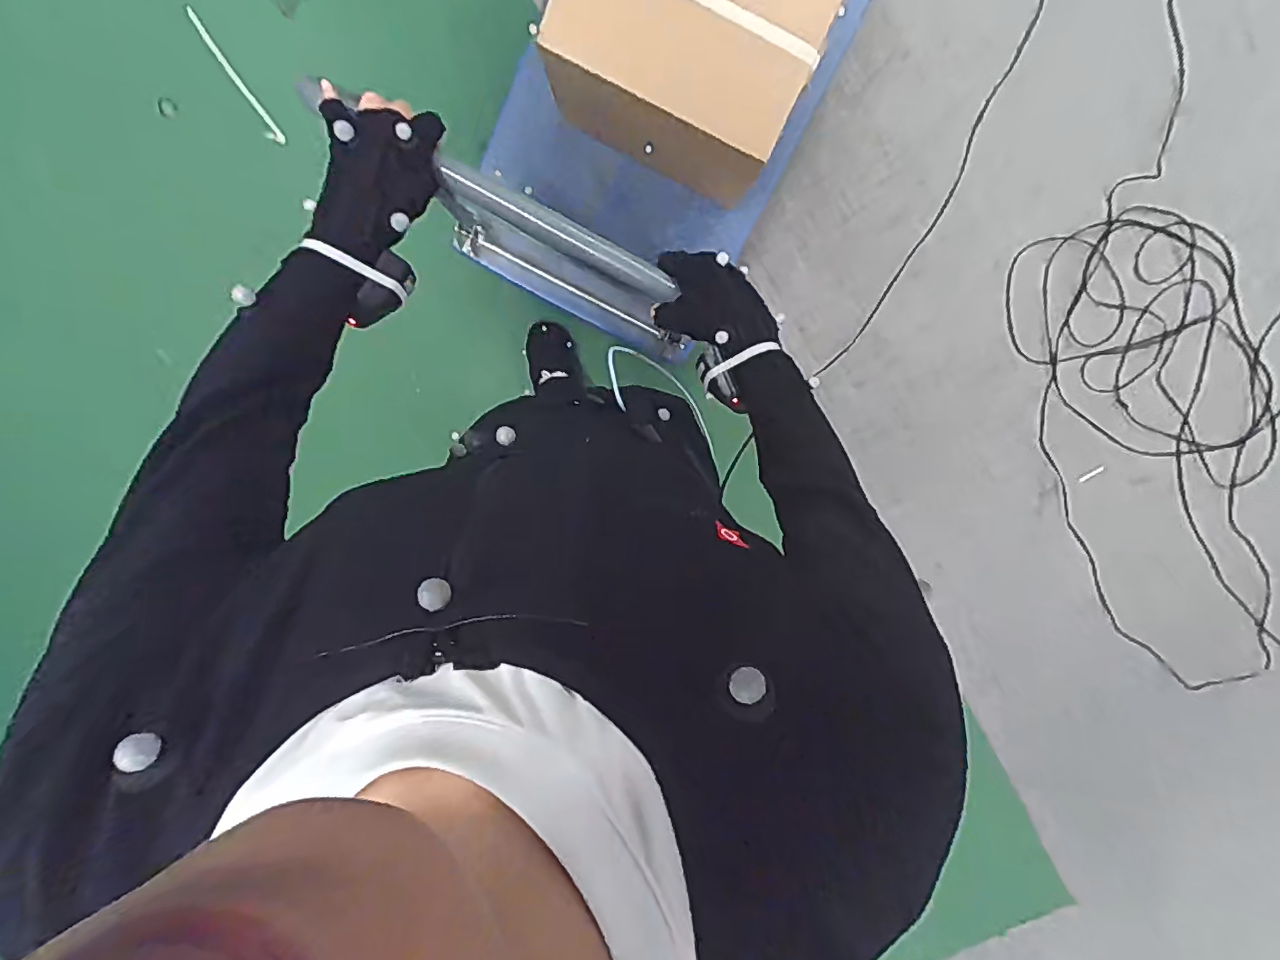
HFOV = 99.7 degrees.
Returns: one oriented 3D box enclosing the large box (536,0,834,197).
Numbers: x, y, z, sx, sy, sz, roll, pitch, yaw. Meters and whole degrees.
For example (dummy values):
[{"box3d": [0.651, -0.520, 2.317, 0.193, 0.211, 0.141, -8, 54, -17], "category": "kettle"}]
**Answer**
[{"box3d": [0.083, -0.770, 0.958, 0.408, 0.320, 0.320, 24, 102, -6], "category": "large box"}]
